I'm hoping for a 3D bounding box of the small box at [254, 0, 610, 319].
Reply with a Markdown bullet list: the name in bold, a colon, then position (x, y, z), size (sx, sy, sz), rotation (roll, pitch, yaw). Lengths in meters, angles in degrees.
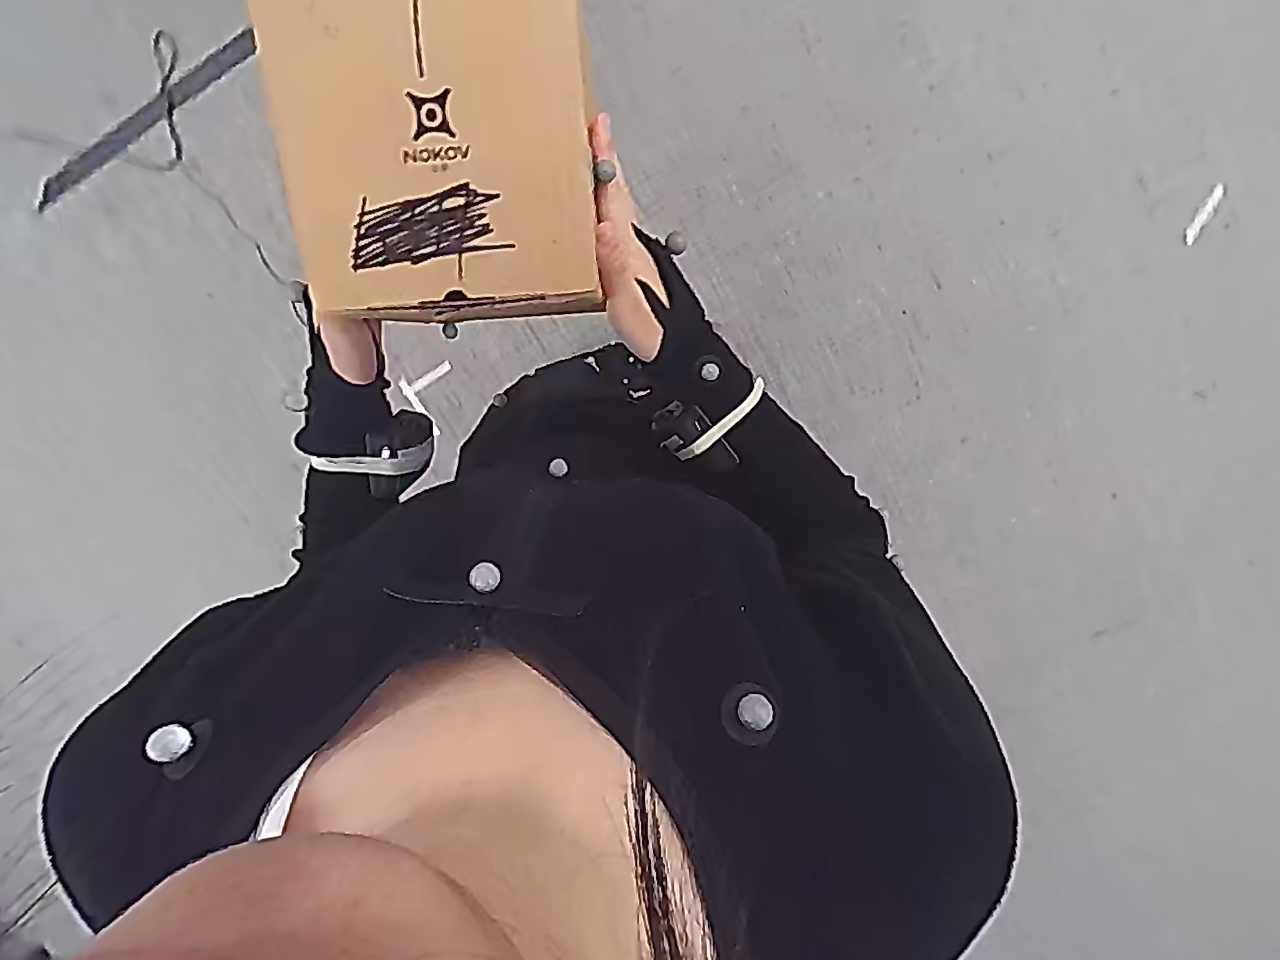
- **small box**: position (-0.111, -0.205, 0.368), size (0.168, 0.176, 0.179), rotation (-5, 103, 0)
